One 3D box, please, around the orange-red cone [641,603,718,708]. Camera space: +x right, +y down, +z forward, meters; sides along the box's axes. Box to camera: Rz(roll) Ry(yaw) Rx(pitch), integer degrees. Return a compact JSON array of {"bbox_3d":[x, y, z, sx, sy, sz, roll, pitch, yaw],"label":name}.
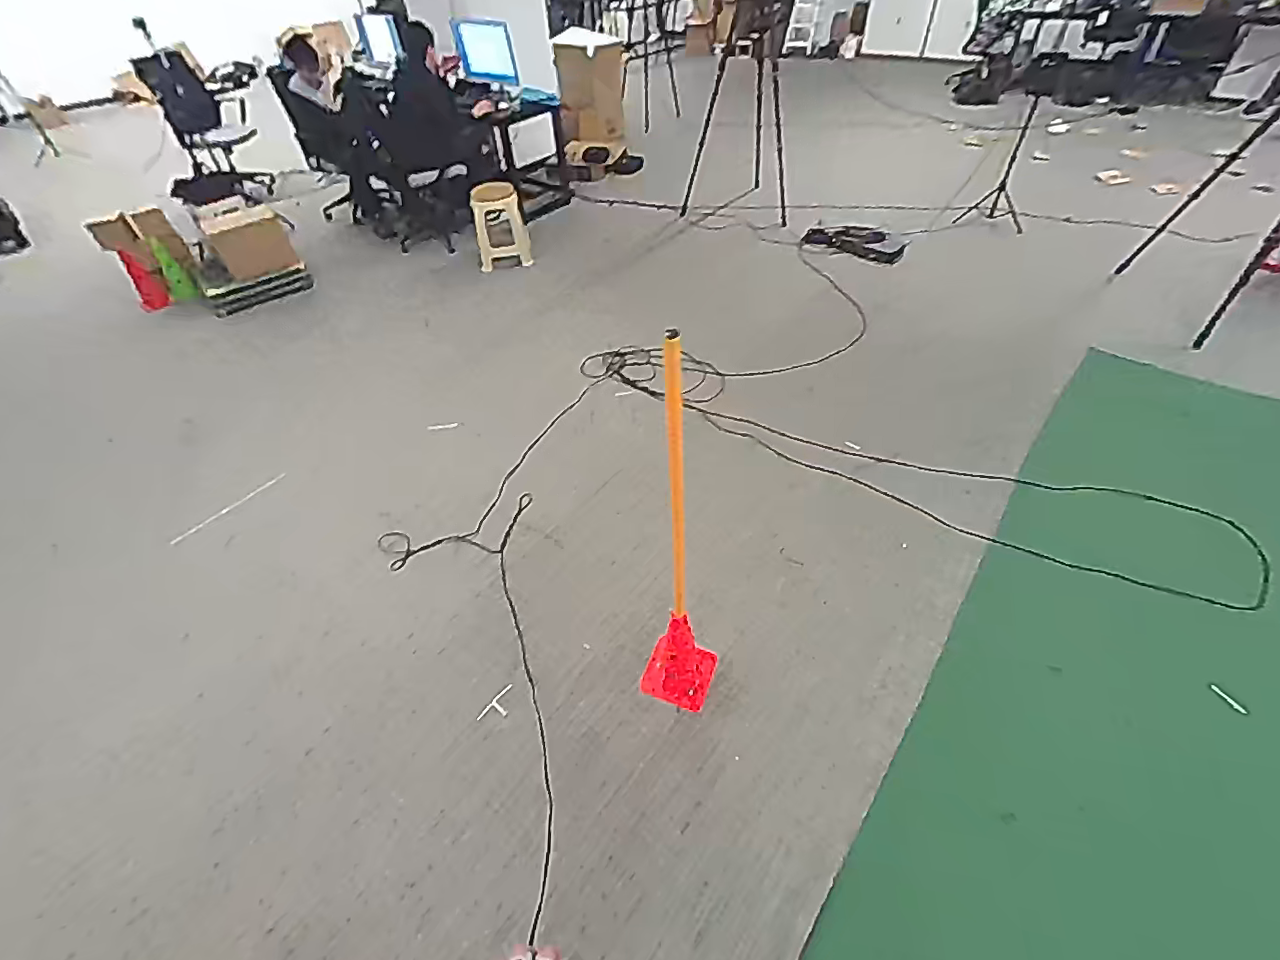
[{"bbox_3d":[0.118,0.461,1.545,0.198,0.360,0.199,17,48,18],"label":"orange-red cone"}]
